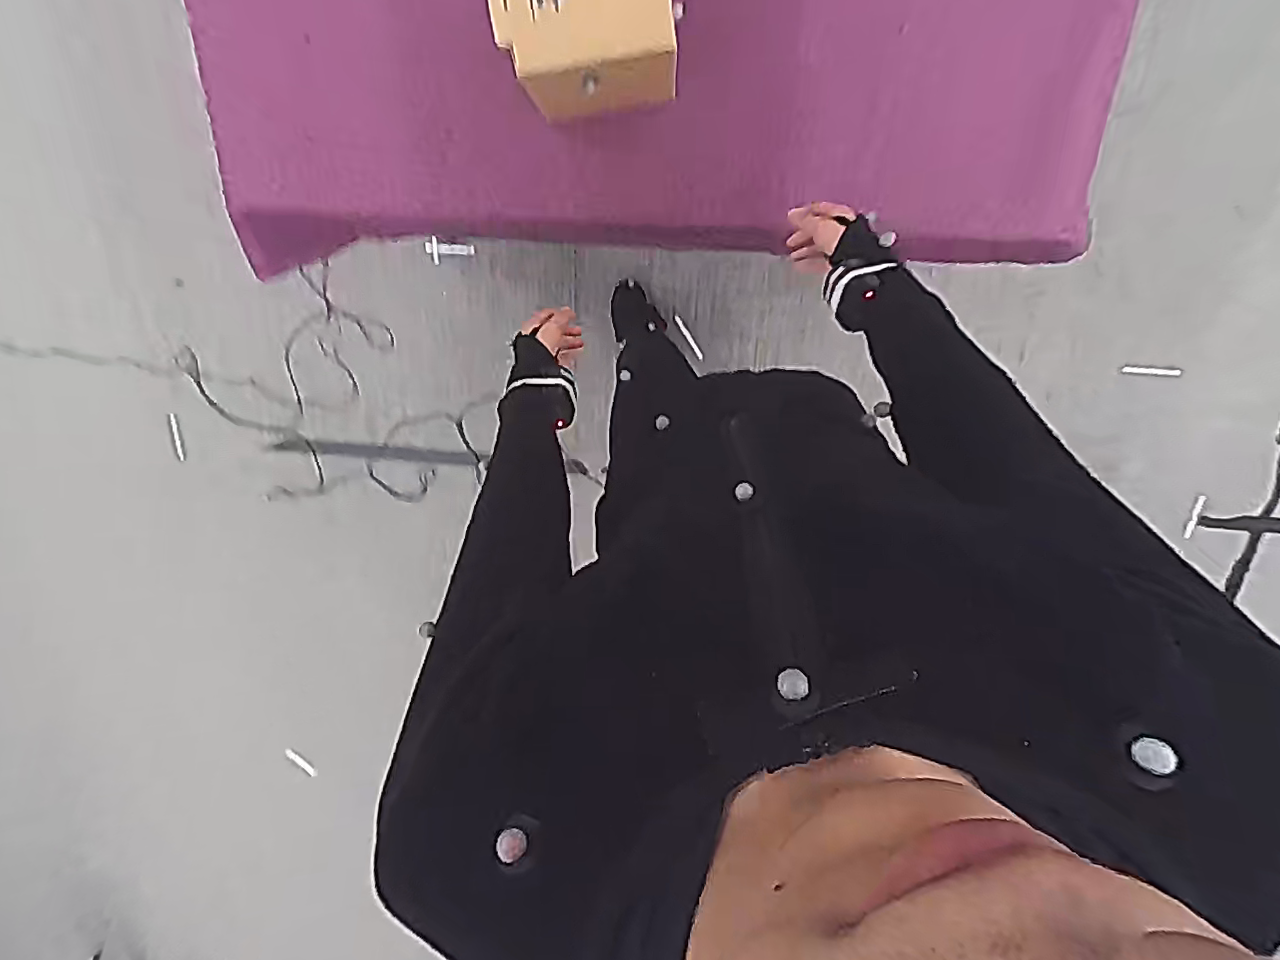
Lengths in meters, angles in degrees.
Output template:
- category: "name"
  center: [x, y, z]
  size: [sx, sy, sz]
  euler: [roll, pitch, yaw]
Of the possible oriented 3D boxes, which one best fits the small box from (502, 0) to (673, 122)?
- category: "small box"
  center: [-0.056, -0.544, 0.629]
  size: [0.179, 0.176, 0.168]
  euler: [-7, 108, 4]
